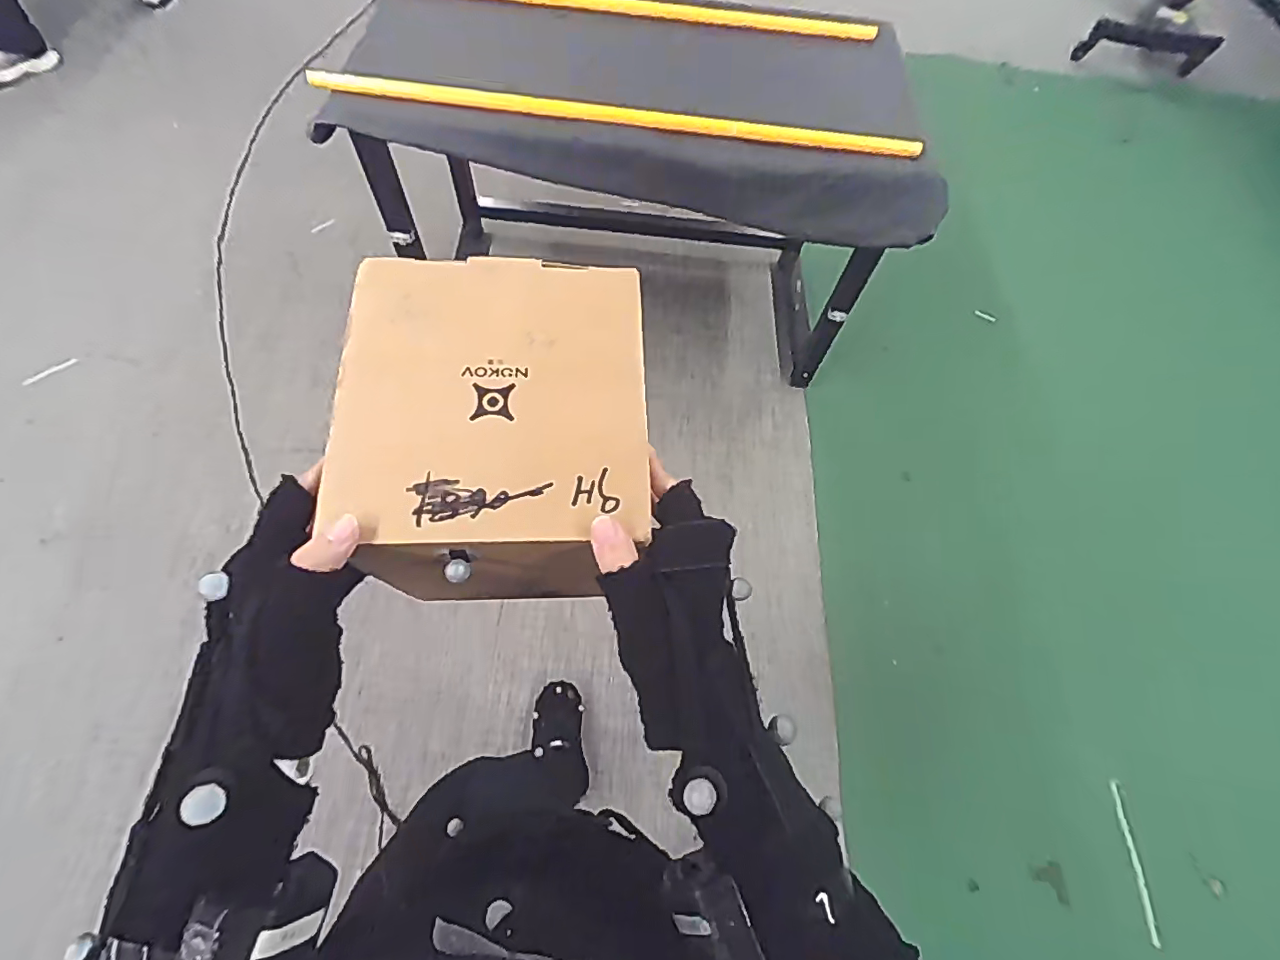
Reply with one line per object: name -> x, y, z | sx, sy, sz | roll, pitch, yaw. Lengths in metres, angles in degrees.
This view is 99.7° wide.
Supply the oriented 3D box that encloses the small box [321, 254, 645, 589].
small box -> -0.088, -0.028, 0.380 | 0.168, 0.176, 0.179 | -1, 68, -5
